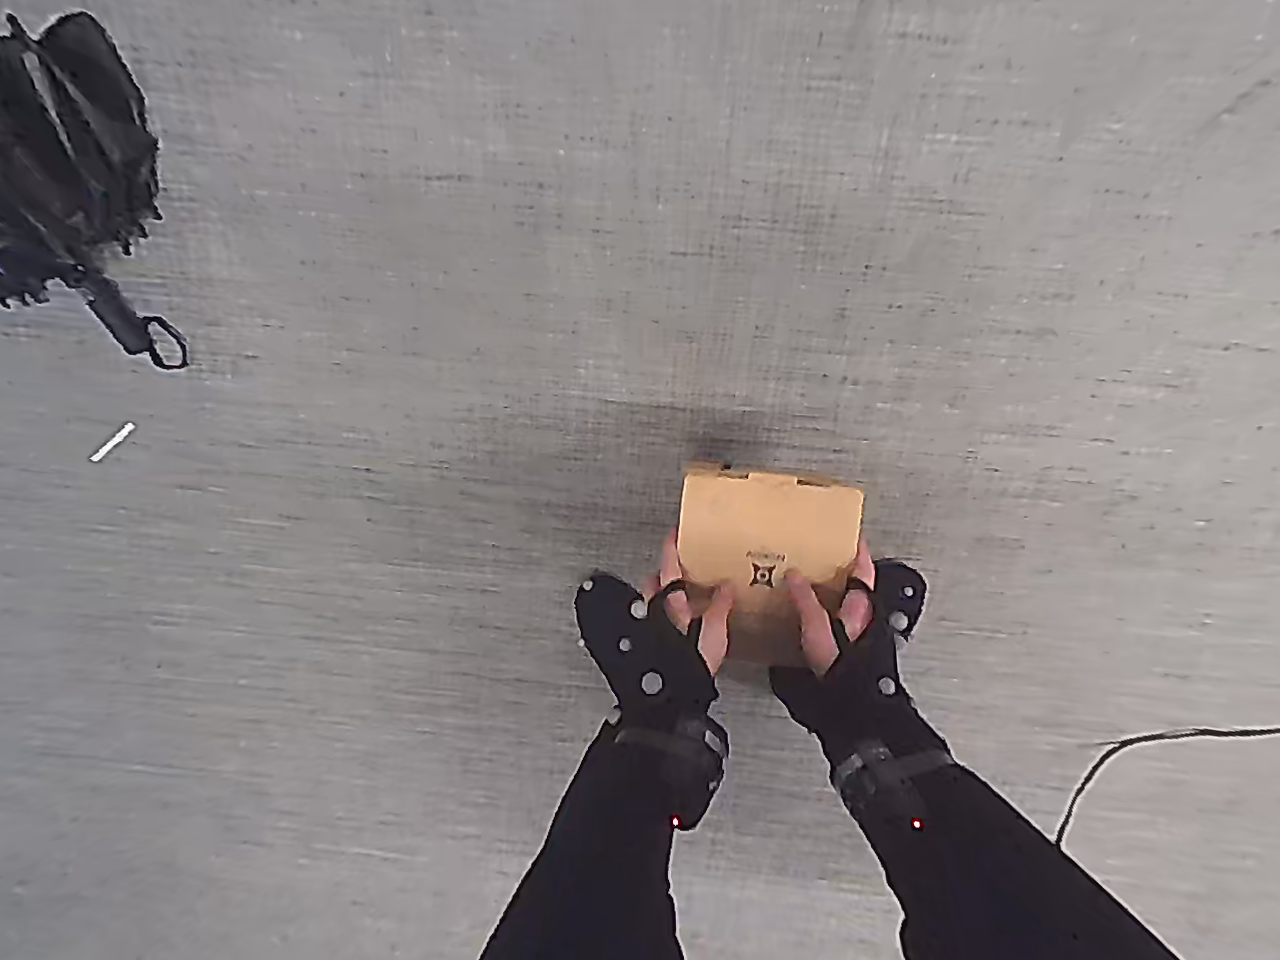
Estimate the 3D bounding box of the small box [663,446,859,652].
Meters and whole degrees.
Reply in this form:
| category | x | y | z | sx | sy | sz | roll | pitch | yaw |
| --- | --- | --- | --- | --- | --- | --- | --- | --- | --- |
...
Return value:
| category | x | y | z | sx | sy | sz | roll | pitch | yaw |
| --- | --- | --- | --- | --- | --- | --- | --- | --- | --- |
| small box | 0.116 | 0.060 | 0.585 | 0.168 | 0.176 | 0.179 | 6 | 98 | 4 |
